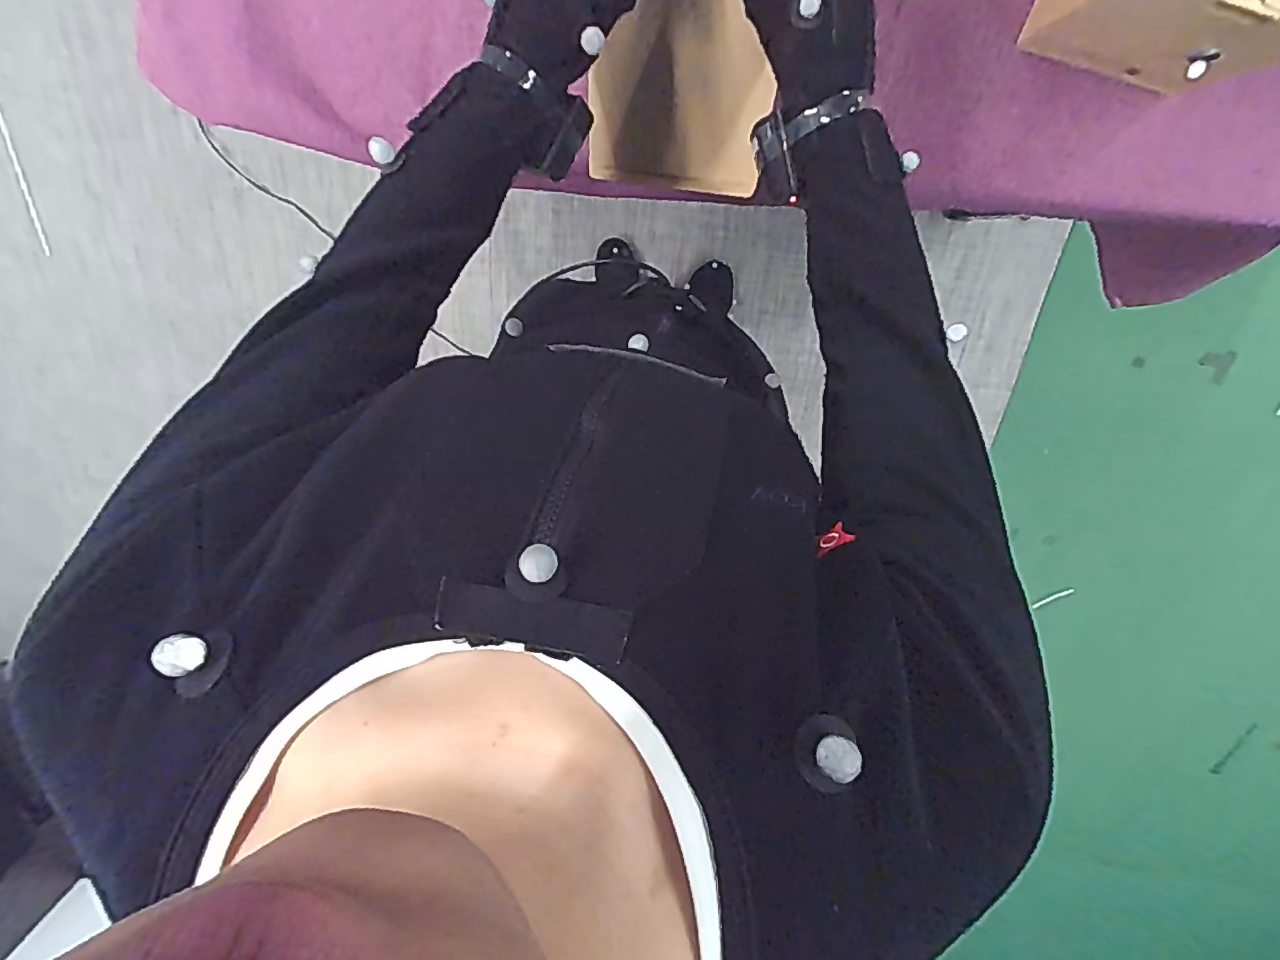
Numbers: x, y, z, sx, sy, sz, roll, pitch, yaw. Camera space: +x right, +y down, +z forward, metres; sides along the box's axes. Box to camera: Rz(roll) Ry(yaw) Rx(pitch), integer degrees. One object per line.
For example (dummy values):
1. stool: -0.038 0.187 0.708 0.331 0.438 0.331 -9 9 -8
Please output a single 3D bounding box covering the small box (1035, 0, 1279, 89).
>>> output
1. small box: 0.458 -0.439 0.417 0.168 0.176 0.179 16 114 -3
